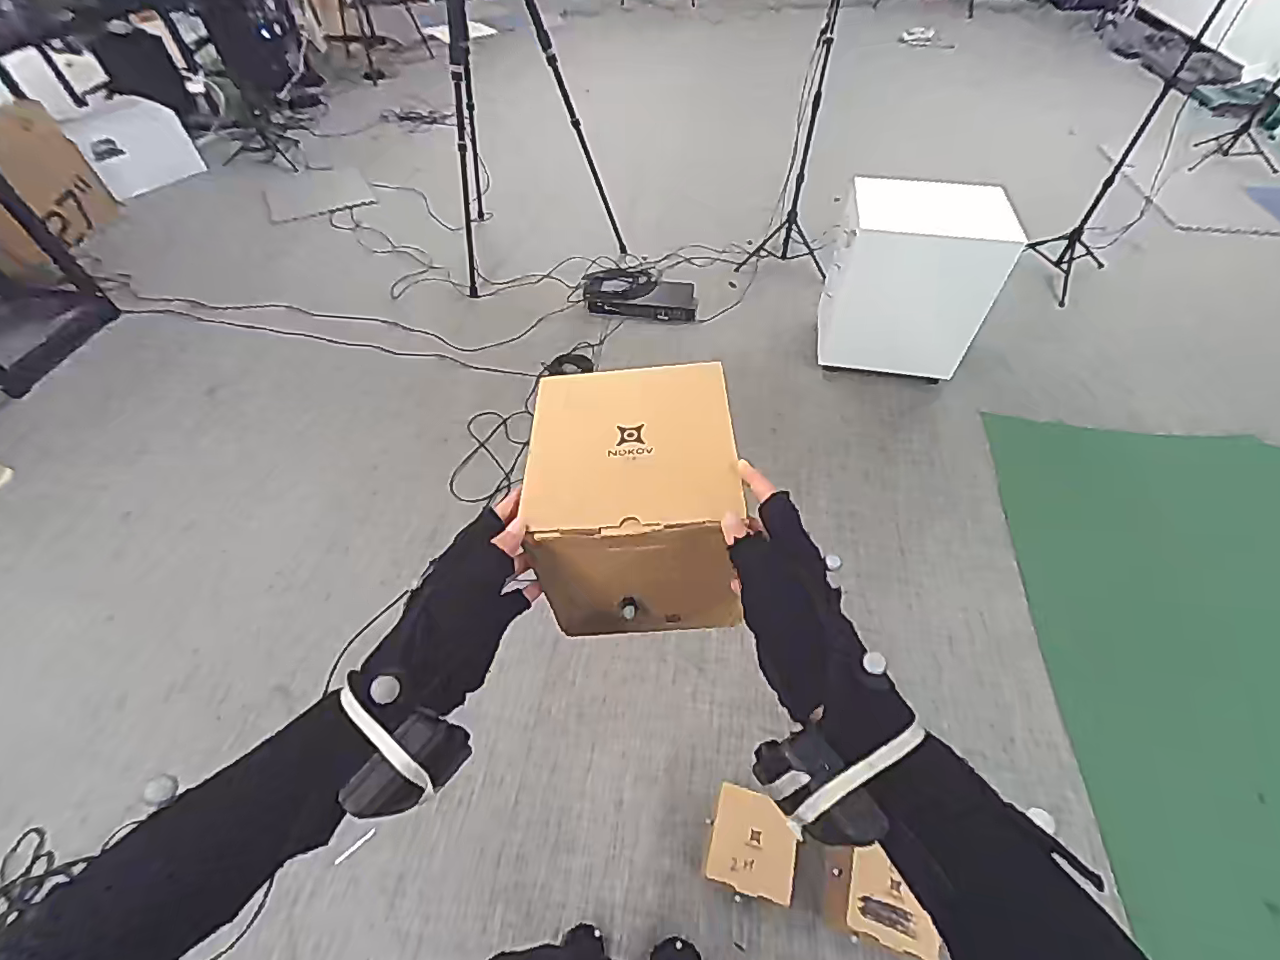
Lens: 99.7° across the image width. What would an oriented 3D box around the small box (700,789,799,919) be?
[{"bbox_3d":[0.225,0.786,1.137,0.168,0.176,0.179,13,53,12],"label":"small box"}]
